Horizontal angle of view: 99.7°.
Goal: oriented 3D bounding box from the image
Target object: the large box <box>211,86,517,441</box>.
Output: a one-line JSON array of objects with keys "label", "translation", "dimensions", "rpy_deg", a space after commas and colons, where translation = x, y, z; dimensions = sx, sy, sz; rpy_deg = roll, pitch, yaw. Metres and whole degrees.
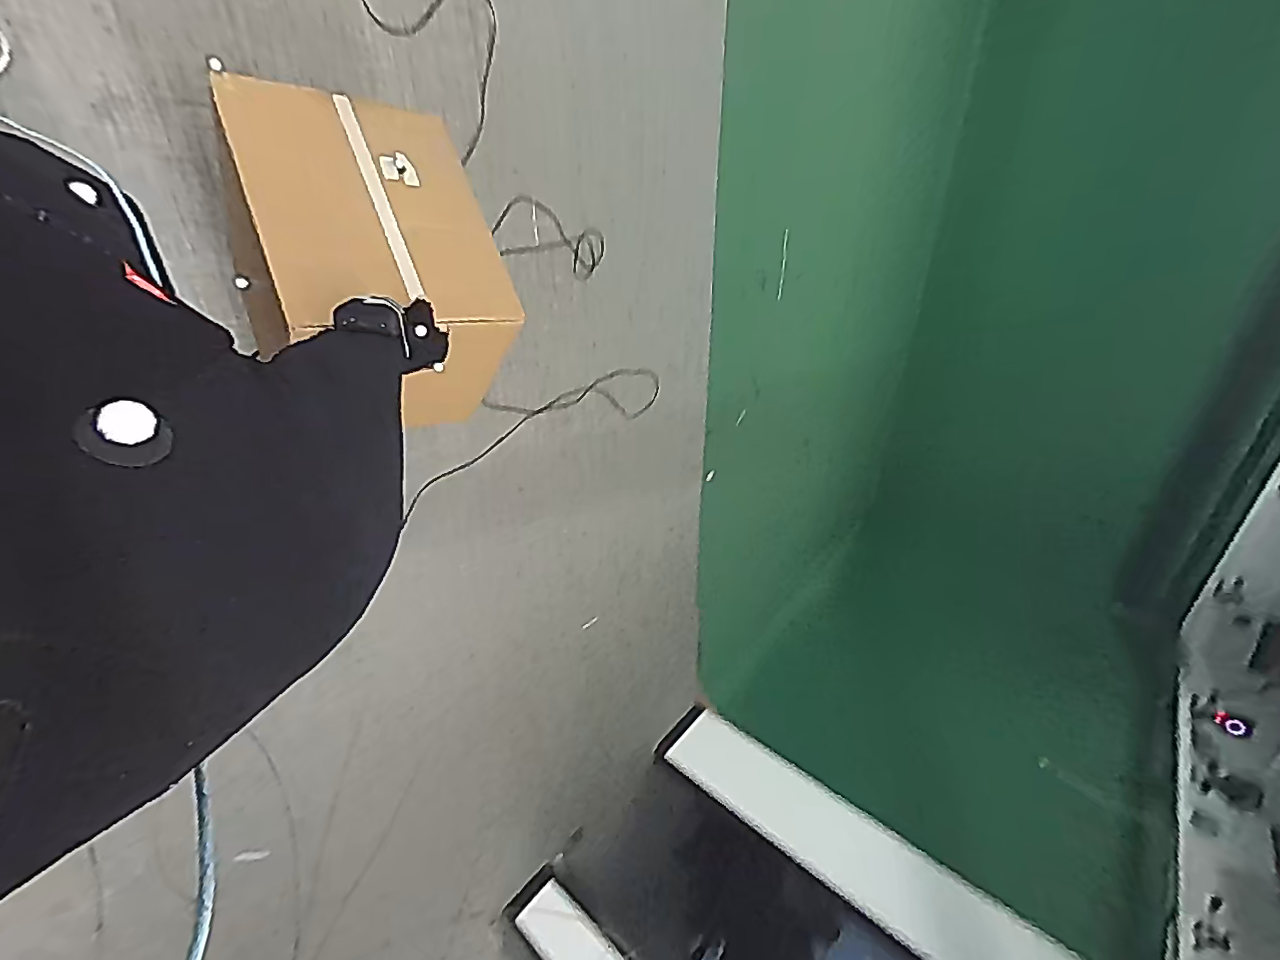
[{"label": "large box", "translation": [-0.456, -0.326, 0.893], "dimensions": [0.320, 0.320, 0.408], "rpy_deg": [-14, 75, -38]}]
